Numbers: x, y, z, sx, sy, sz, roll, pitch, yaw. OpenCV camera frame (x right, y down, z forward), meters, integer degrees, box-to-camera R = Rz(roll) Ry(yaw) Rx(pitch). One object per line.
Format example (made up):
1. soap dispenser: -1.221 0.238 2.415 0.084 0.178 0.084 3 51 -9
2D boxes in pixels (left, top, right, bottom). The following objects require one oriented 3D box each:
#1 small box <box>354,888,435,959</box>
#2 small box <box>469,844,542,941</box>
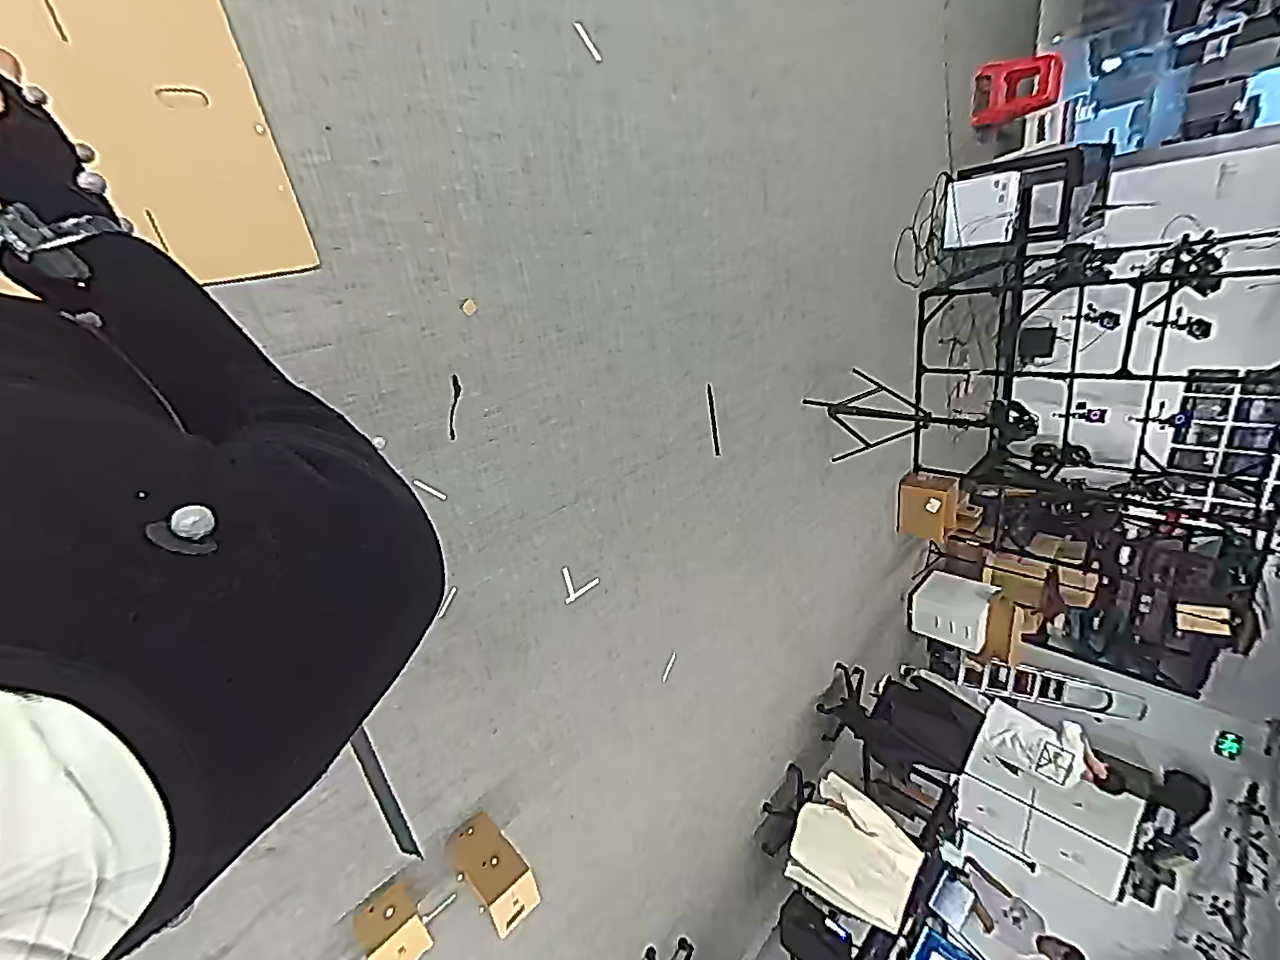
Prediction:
1. small box: -0.820 1.517 1.800 0.168 0.176 0.179 -30 120 -35
2. small box: -0.470 1.426 1.883 0.168 0.176 0.179 -26 116 -38
